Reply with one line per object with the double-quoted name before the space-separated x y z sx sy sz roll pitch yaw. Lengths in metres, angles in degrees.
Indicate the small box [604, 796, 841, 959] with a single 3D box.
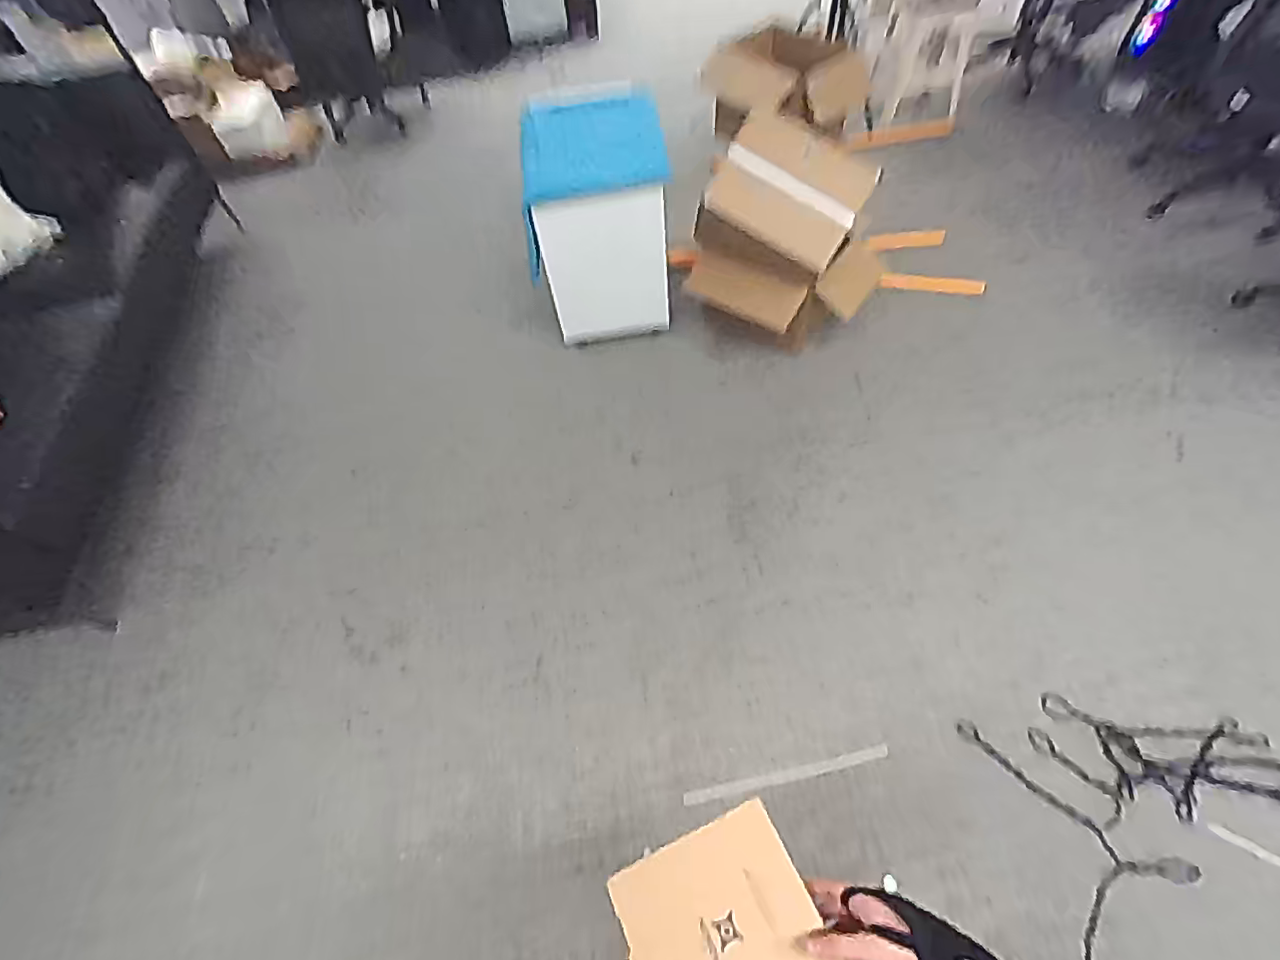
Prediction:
"small box" 0.085 0.458 0.545 0.179 0.176 0.168 -23 50 -9
